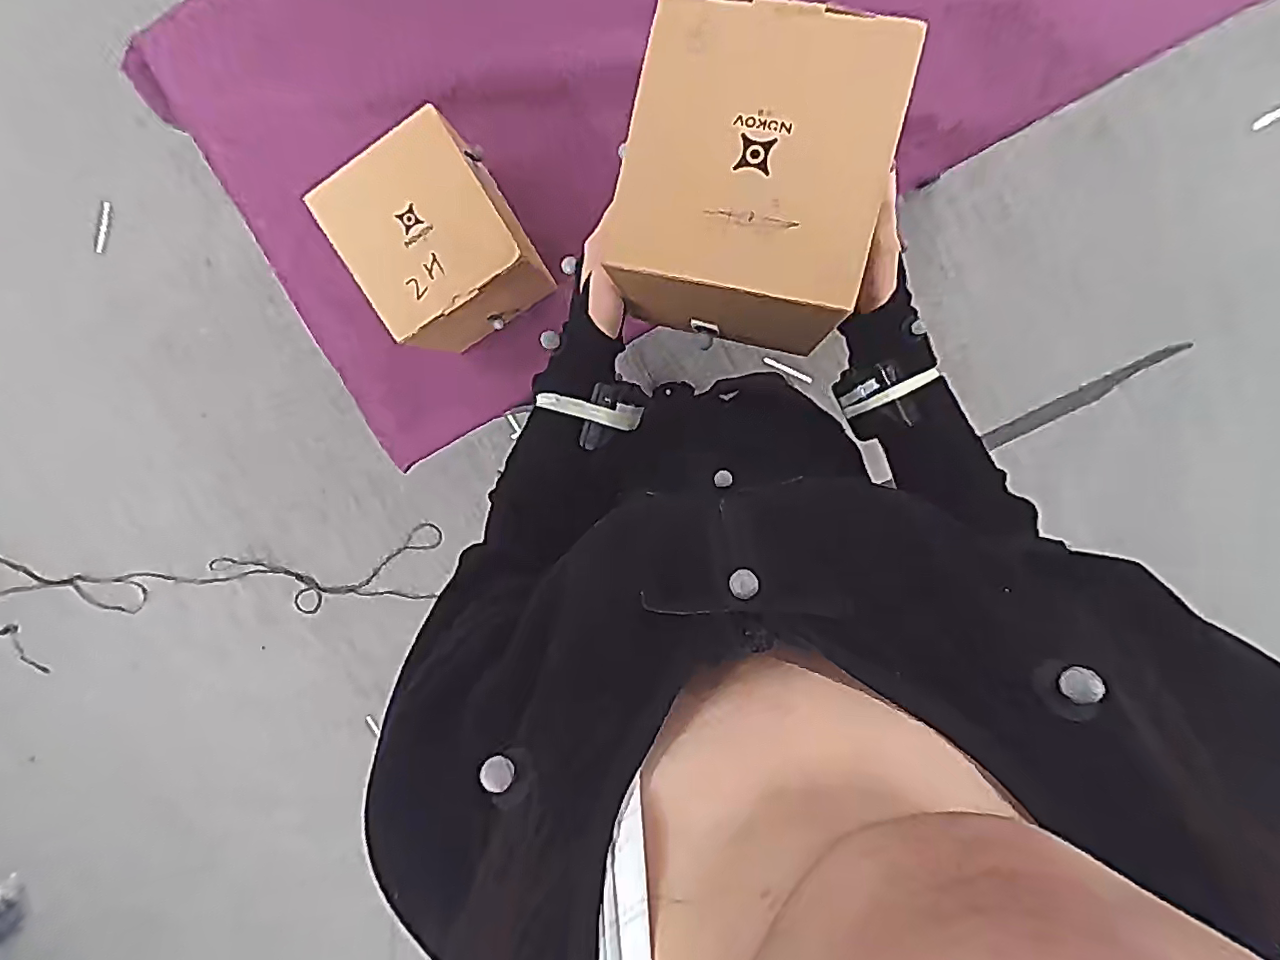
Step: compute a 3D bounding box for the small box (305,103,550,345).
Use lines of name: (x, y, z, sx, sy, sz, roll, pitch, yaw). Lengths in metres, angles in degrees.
small box: (-0.230, -0.277, 0.634, 0.168, 0.176, 0.179, -31, 97, 8)

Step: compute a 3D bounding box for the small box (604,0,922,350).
small box: (0.083, -0.214, 0.419, 0.168, 0.176, 0.179, 14, 96, 7)
